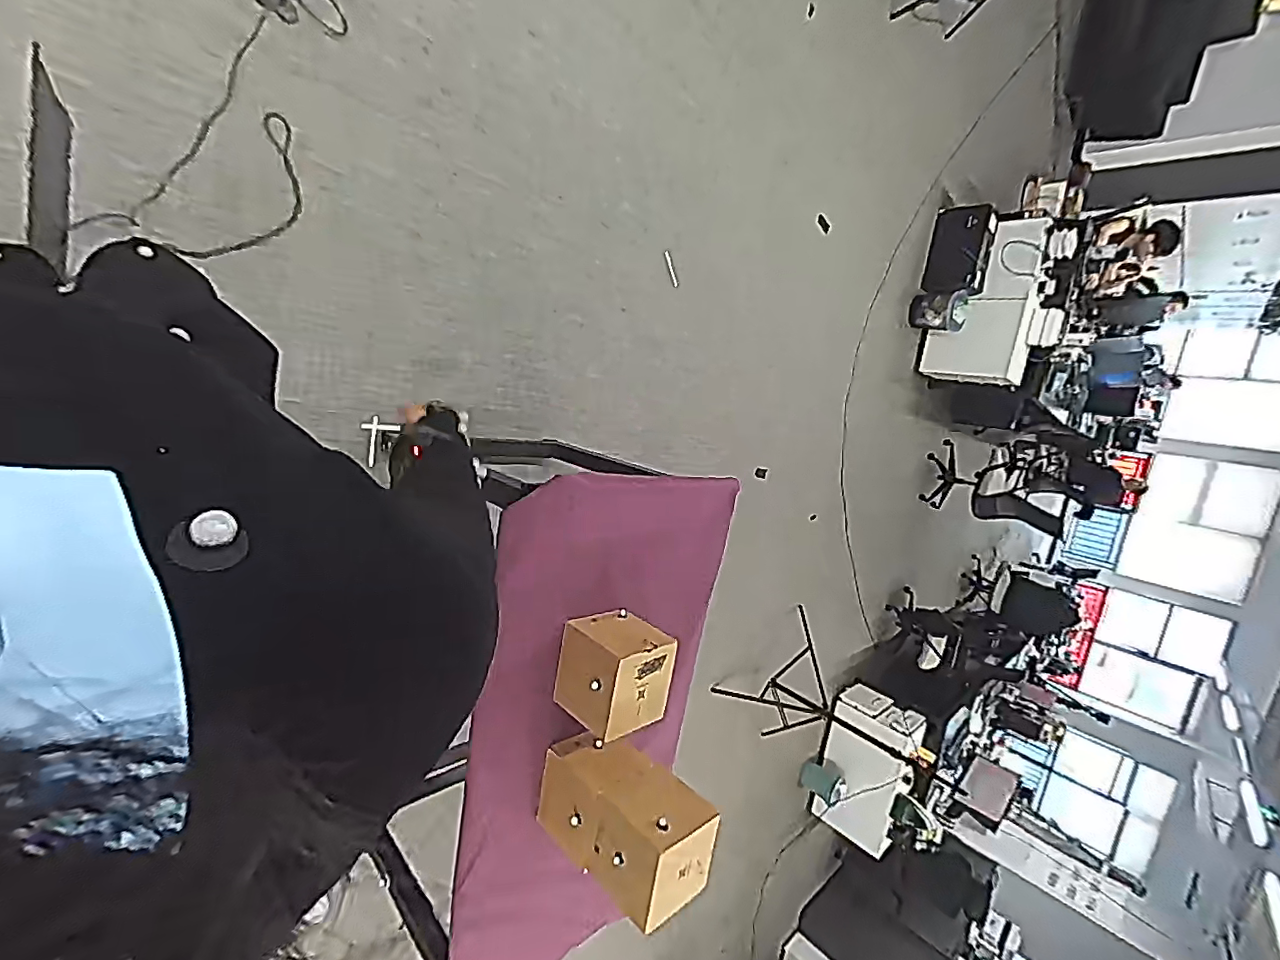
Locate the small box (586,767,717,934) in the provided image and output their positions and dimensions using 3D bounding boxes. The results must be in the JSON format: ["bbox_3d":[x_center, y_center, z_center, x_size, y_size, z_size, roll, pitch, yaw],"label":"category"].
[{"bbox_3d":[0.018,0.698,1.045,0.179,0.176,0.168,2,101,-46],"label":"small box"}]

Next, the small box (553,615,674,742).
[{"bbox_3d":[-0.058,0.390,1.105,0.168,0.176,0.179,2,102,-45],"label":"small box"}]

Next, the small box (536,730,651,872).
[{"bbox_3d":[-0.103,0.668,1.153,0.168,0.176,0.179,3,101,-46],"label":"small box"}]
